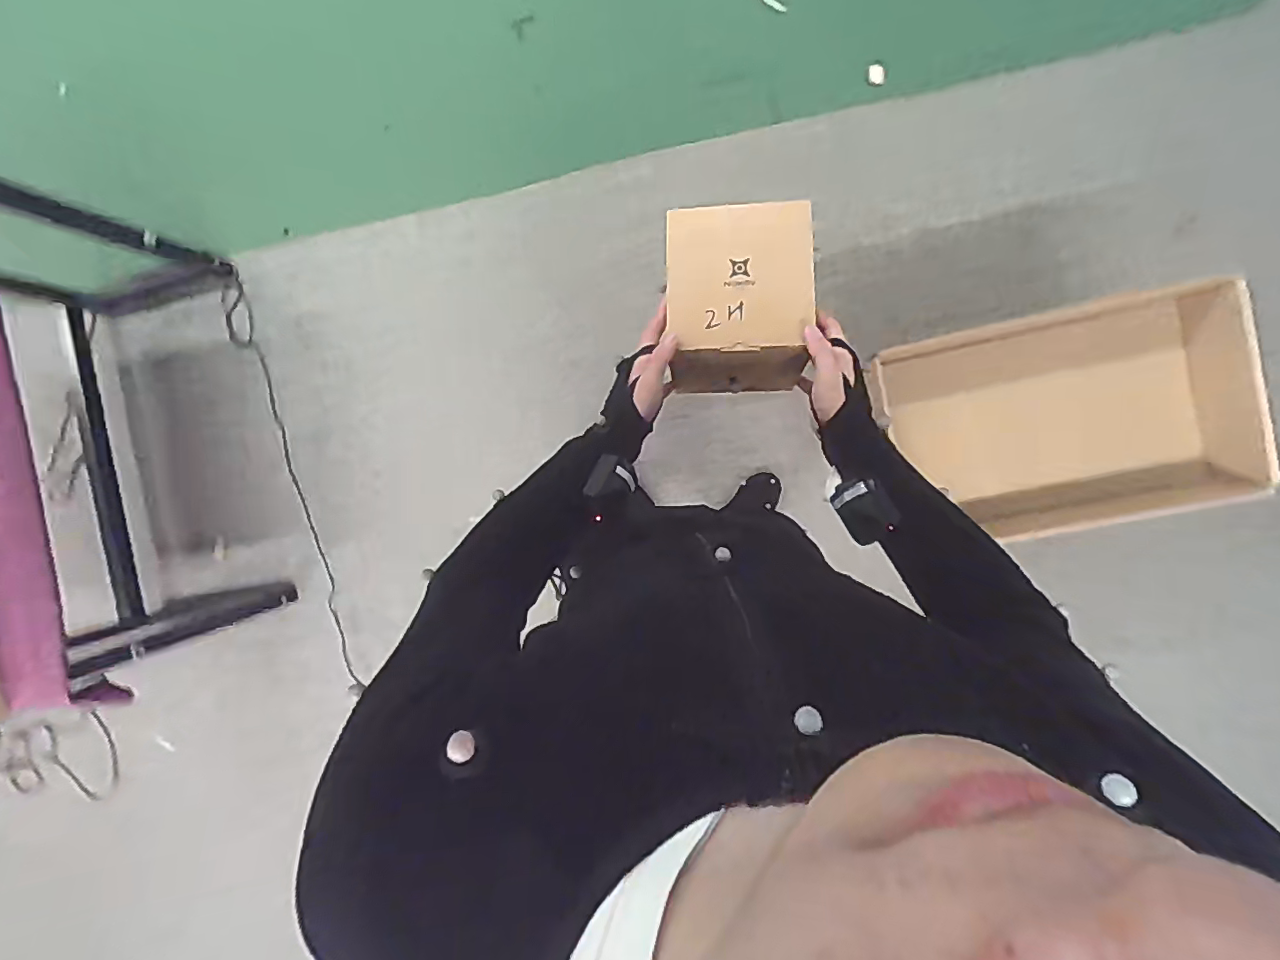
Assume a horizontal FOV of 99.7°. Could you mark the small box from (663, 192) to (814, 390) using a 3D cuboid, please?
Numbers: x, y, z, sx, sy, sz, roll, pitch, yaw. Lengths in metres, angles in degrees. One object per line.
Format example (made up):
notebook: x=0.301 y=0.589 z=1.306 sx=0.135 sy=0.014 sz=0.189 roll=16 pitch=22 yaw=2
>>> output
small box: x=0.115 y=-0.224 z=0.680 sx=0.168 sy=0.176 sz=0.179 roll=-2 pitch=83 yaw=7
